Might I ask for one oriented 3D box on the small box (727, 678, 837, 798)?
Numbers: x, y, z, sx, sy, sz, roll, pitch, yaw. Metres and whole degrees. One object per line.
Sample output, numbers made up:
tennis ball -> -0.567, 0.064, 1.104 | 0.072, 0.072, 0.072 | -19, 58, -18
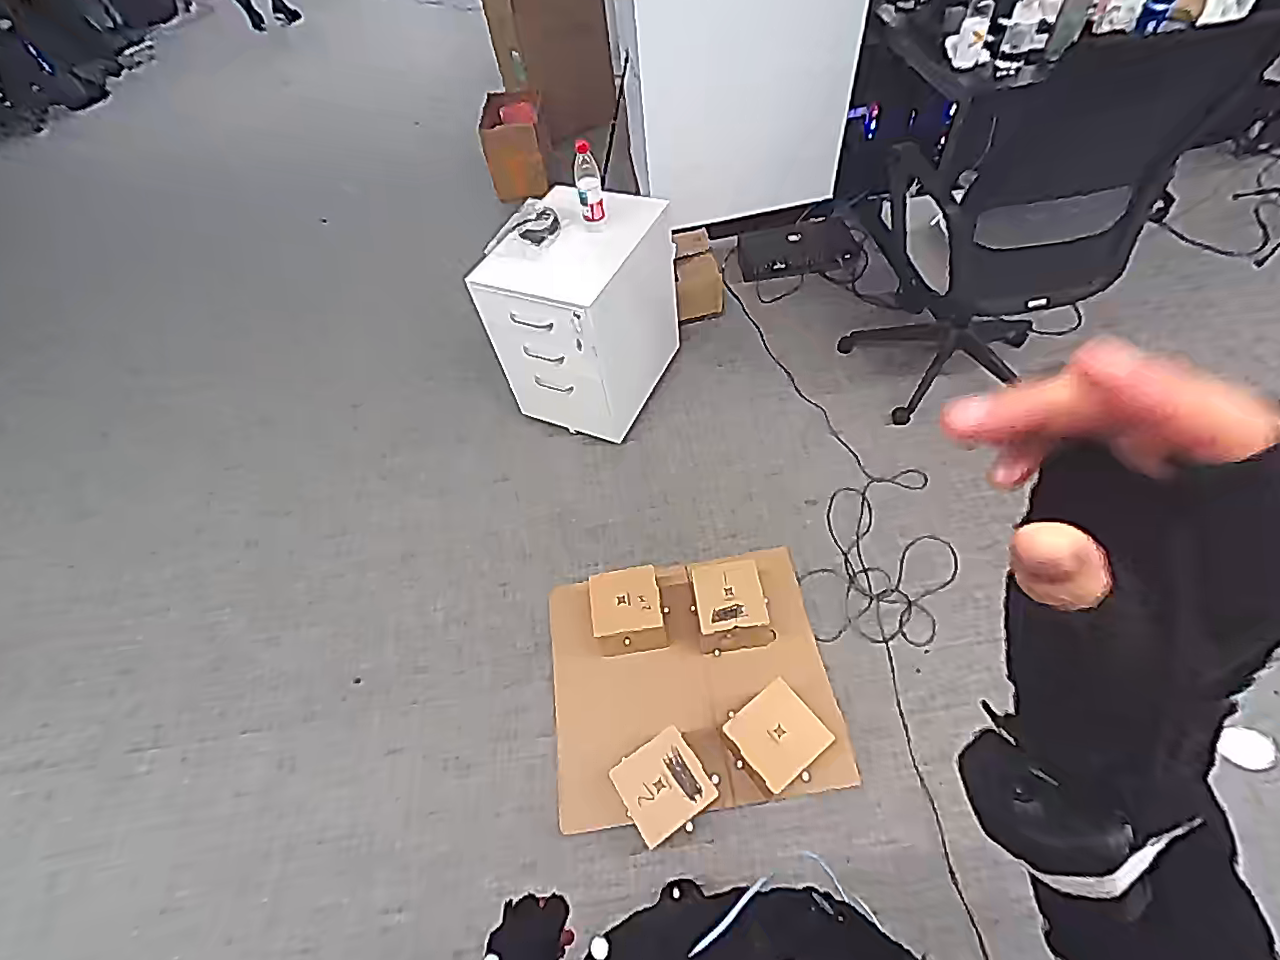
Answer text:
small box -> 0.312, 0.586, 1.222 | 0.179, 0.176, 0.168 | -36, 58, -14
